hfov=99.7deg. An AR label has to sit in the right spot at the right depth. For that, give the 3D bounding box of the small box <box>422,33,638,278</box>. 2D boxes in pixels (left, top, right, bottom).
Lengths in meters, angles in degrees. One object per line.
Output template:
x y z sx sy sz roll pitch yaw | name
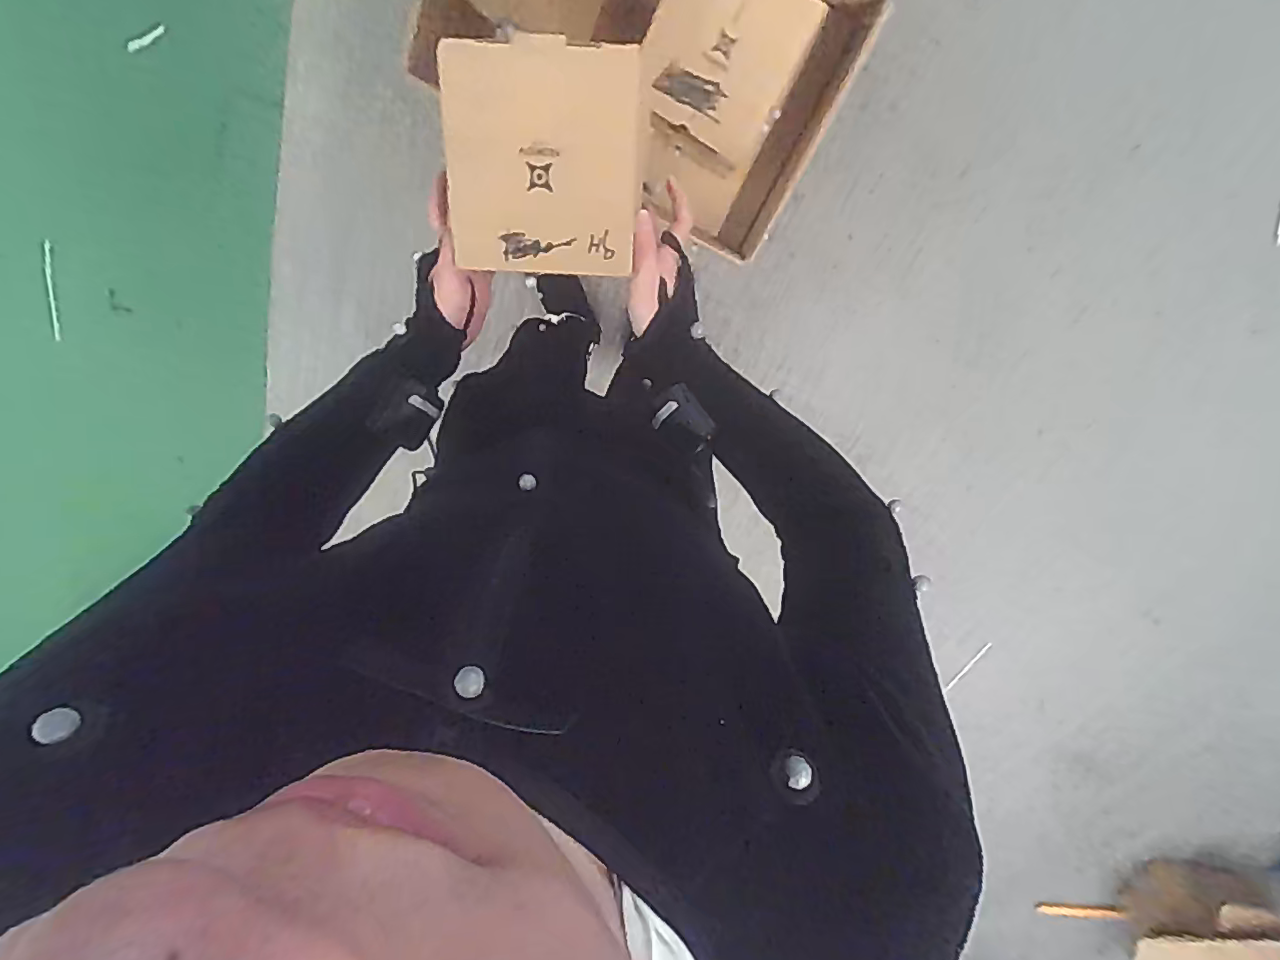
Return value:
-0.090 -0.293 0.525 0.168 0.176 0.179 3 111 2 | small box

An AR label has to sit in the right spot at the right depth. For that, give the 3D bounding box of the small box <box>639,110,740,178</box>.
0.114 -0.591 0.824 0.168 0.176 0.179 27 117 -7 | small box

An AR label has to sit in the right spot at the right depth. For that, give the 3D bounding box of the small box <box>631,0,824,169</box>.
0.099 -0.518 0.677 0.168 0.176 0.179 28 116 -8 | small box

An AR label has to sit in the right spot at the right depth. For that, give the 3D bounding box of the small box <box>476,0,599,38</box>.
-0.129 -0.651 0.636 0.168 0.176 0.179 26 116 -7 | small box
